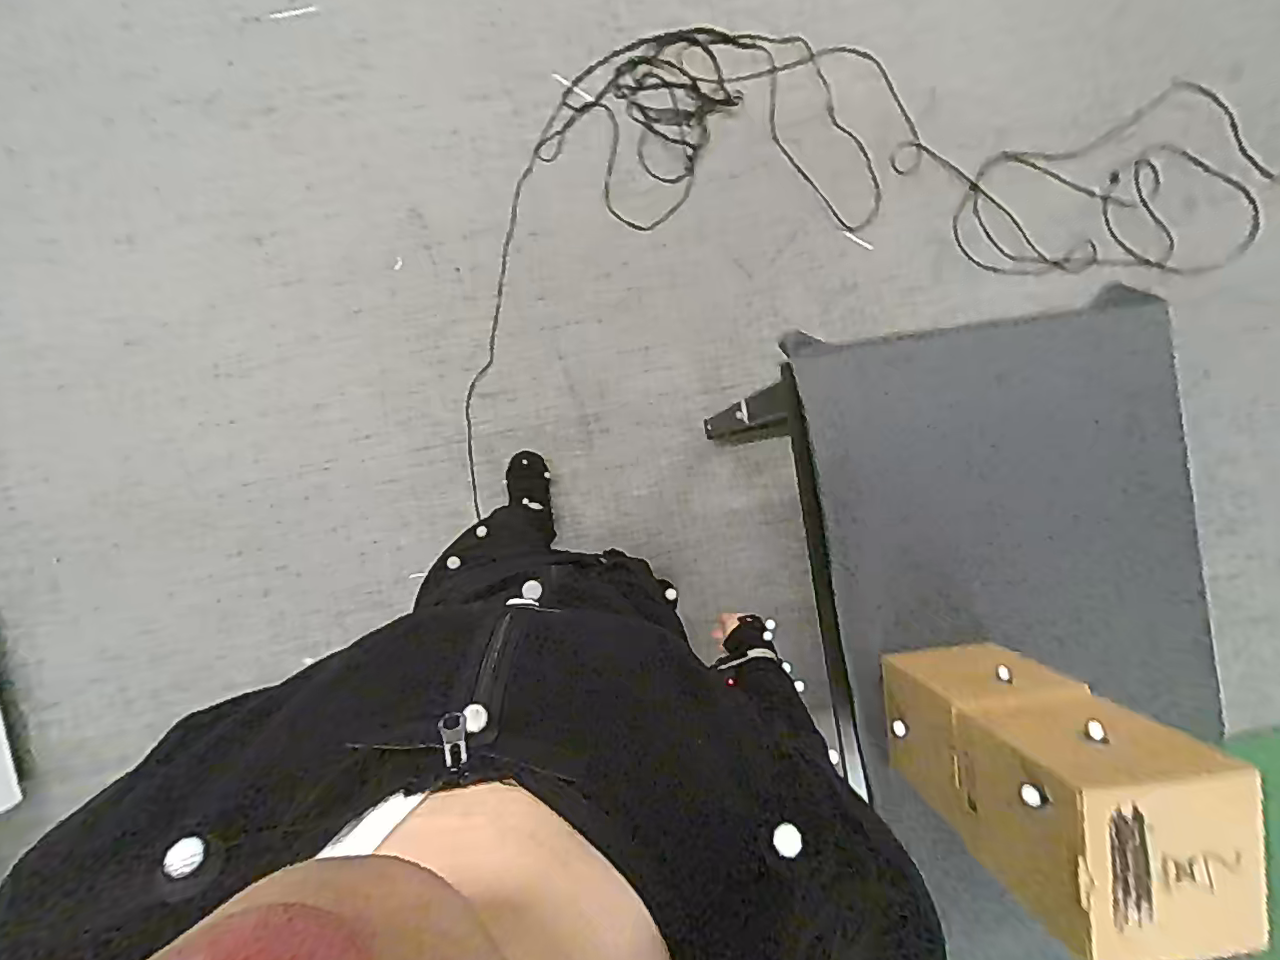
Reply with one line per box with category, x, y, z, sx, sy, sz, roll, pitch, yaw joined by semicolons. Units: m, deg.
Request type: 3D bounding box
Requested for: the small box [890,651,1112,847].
small box;0.460;0.336;0.710;0.179;0.176;0.168;-6;91;-4
